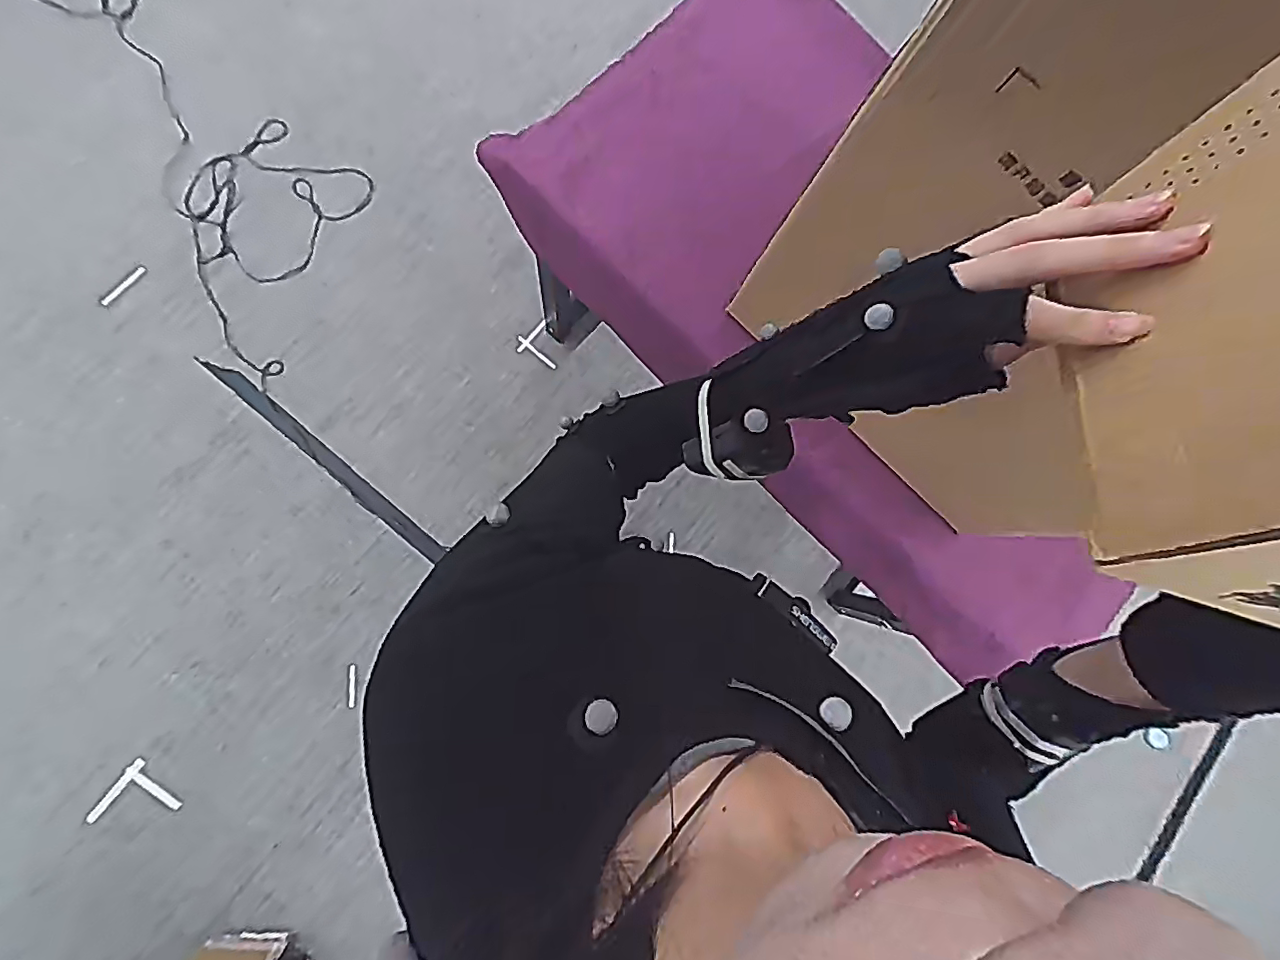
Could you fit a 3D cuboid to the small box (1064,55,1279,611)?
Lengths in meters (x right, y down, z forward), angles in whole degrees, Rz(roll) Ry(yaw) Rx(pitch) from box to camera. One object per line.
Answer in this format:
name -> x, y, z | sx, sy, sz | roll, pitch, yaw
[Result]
small box -> 0.280, -0.055, 0.164 | 0.168, 0.179, 0.176 | 16, 64, -12
